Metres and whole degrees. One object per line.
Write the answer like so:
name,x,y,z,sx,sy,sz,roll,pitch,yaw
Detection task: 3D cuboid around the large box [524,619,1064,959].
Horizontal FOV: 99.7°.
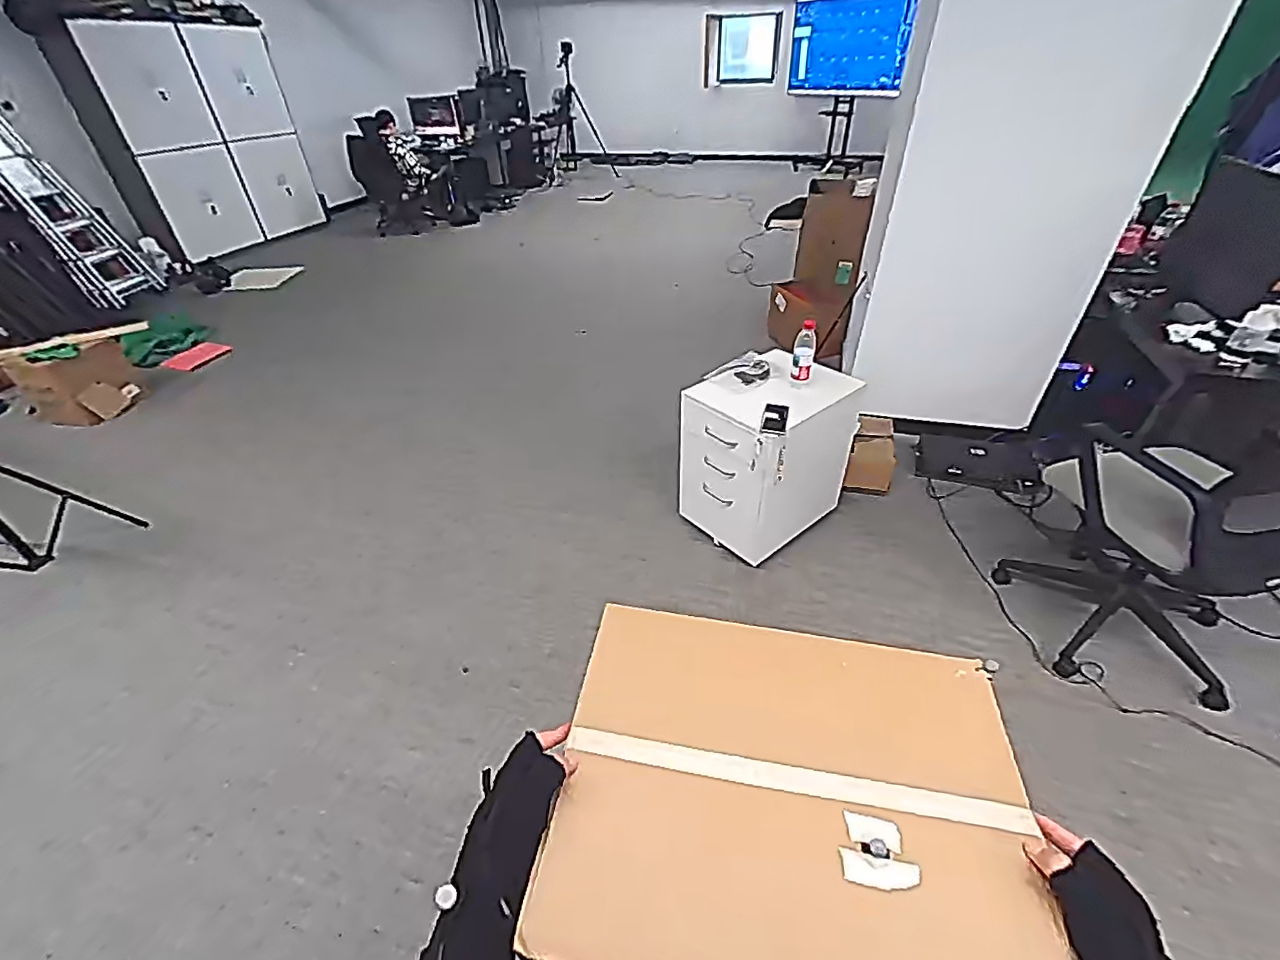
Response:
large box,0.129,0.391,0.581,0.408,0.320,0.320,7,42,8
